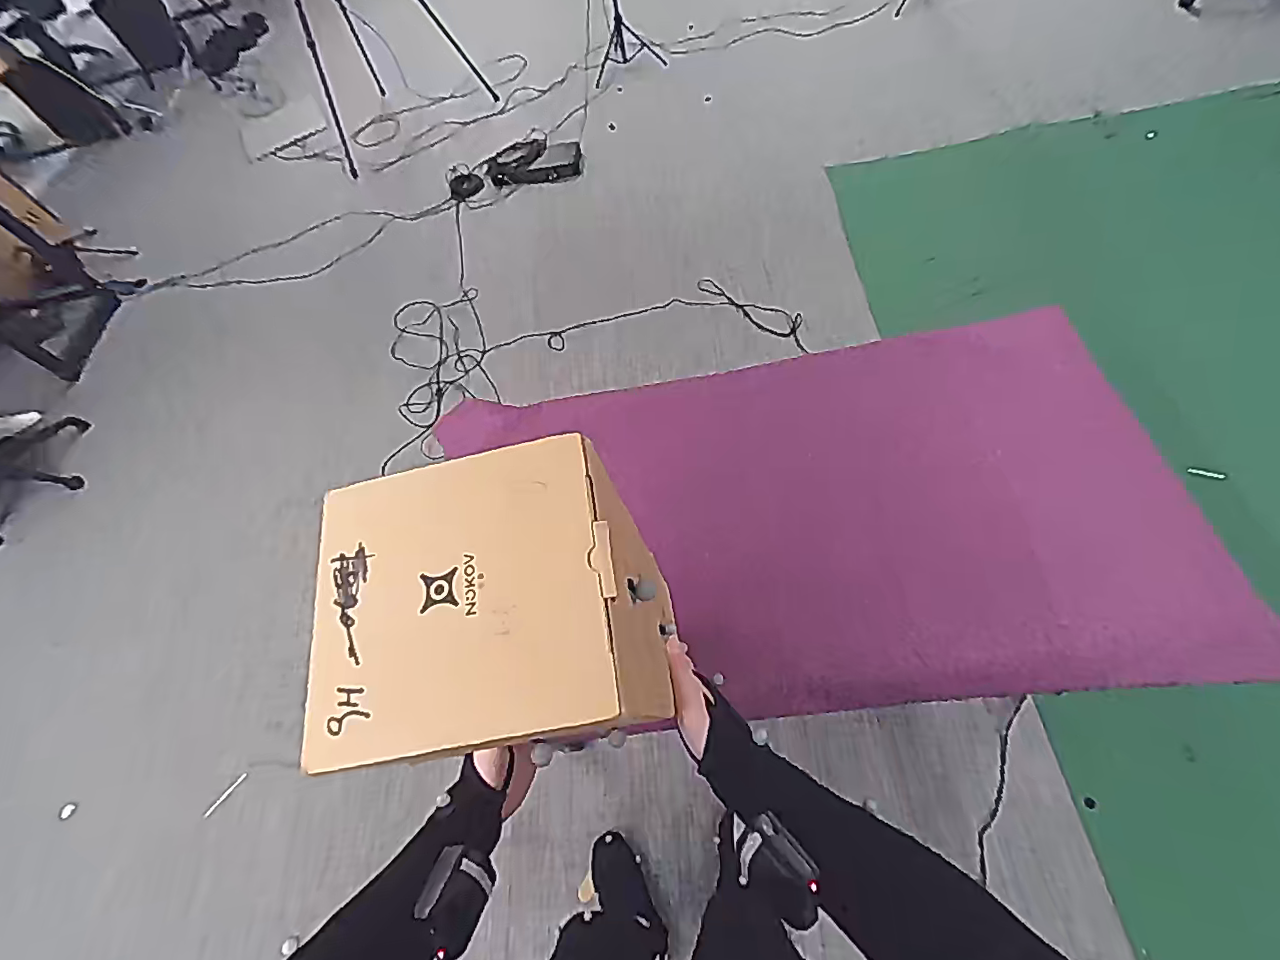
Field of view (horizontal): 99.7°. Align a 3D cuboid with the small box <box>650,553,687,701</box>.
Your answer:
[{"bbox_3d":[-0.040,0.206,0.695,0.179,0.176,0.168,-13,65,6],"label":"small box"}]

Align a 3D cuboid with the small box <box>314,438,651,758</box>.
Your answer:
[{"bbox_3d":[-0.091,0.092,0.391,0.179,0.176,0.168,-12,65,5],"label":"small box"}]

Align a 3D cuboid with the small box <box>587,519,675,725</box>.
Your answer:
[{"bbox_3d":[-0.064,0.153,0.540,0.179,0.176,0.168,-12,65,6],"label":"small box"}]
